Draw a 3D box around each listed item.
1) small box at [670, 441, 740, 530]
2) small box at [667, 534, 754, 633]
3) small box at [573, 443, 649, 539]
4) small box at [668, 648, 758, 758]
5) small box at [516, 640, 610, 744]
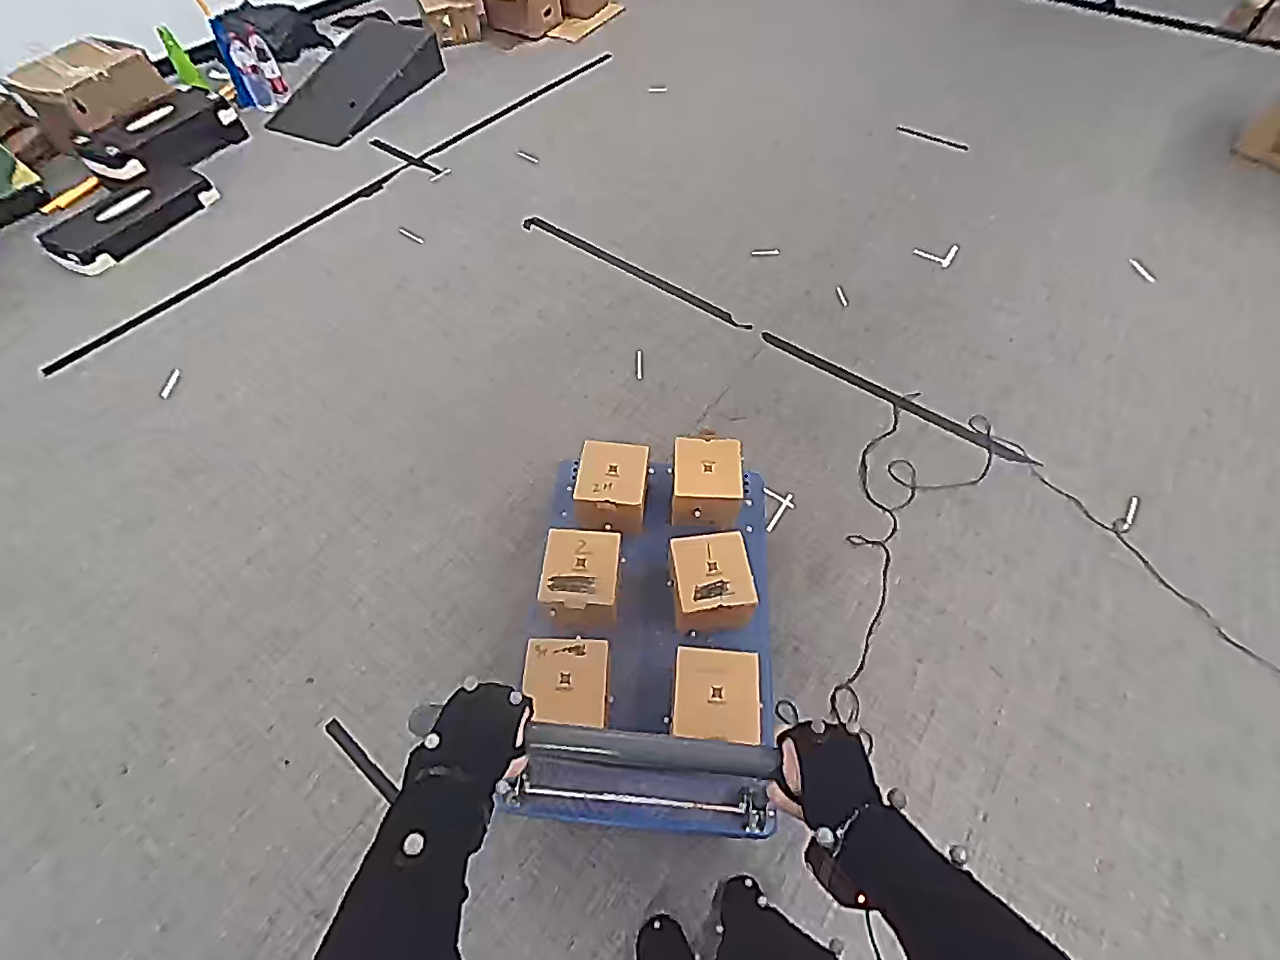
[{"bbox_3d":[0.164,0.018,1.403,0.168,0.176,0.179,2,58,1],"label":"small box"},{"bbox_3d":[0.156,0.247,1.256,0.168,0.176,0.179,-5,57,-4],"label":"small box"},{"bbox_3d":[-0.070,0.030,1.391,0.168,0.176,0.179,6,59,3],"label":"small box"},{"bbox_3d":[0.147,0.466,1.119,0.168,0.176,0.179,5,57,2],"label":"small box"},{"bbox_3d":[-0.150,0.446,1.127,0.168,0.176,0.179,2,58,0],"label":"small box"}]
